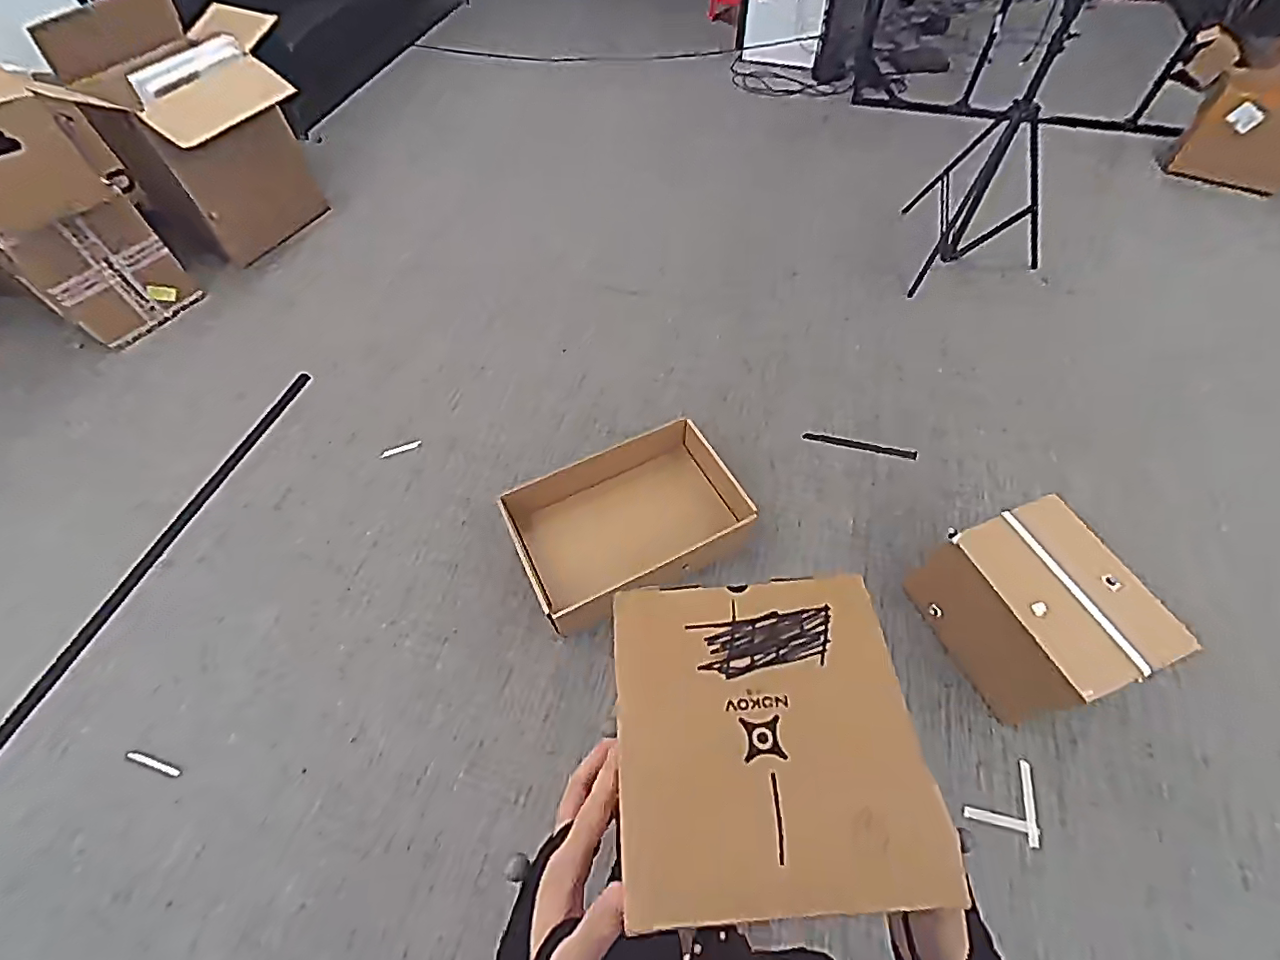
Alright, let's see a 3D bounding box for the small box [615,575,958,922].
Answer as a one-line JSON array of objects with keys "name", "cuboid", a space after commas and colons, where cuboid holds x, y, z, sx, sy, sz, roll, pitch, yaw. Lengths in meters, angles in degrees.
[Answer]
[{"name": "small box", "cuboid": [0.072, 0.186, 0.373, 0.168, 0.176, 0.179, -5, 54, 1]}]
